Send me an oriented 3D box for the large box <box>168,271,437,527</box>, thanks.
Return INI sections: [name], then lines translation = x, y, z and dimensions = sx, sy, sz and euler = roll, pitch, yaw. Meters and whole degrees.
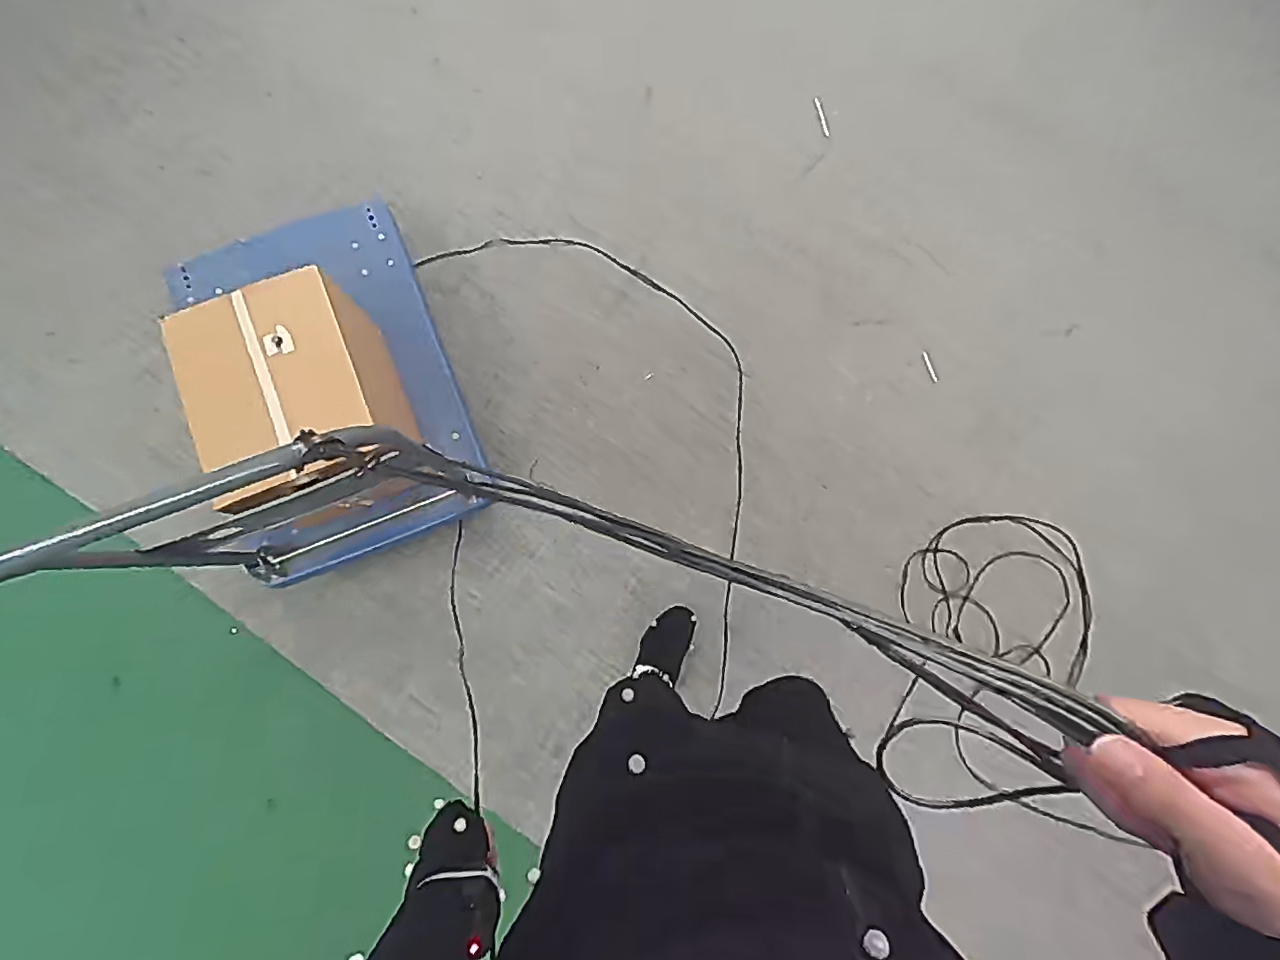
[large box]
translation = -0.698, -0.152, 1.172
dimensions = 0.320, 0.320, 0.408
euler = -23, 80, -6
